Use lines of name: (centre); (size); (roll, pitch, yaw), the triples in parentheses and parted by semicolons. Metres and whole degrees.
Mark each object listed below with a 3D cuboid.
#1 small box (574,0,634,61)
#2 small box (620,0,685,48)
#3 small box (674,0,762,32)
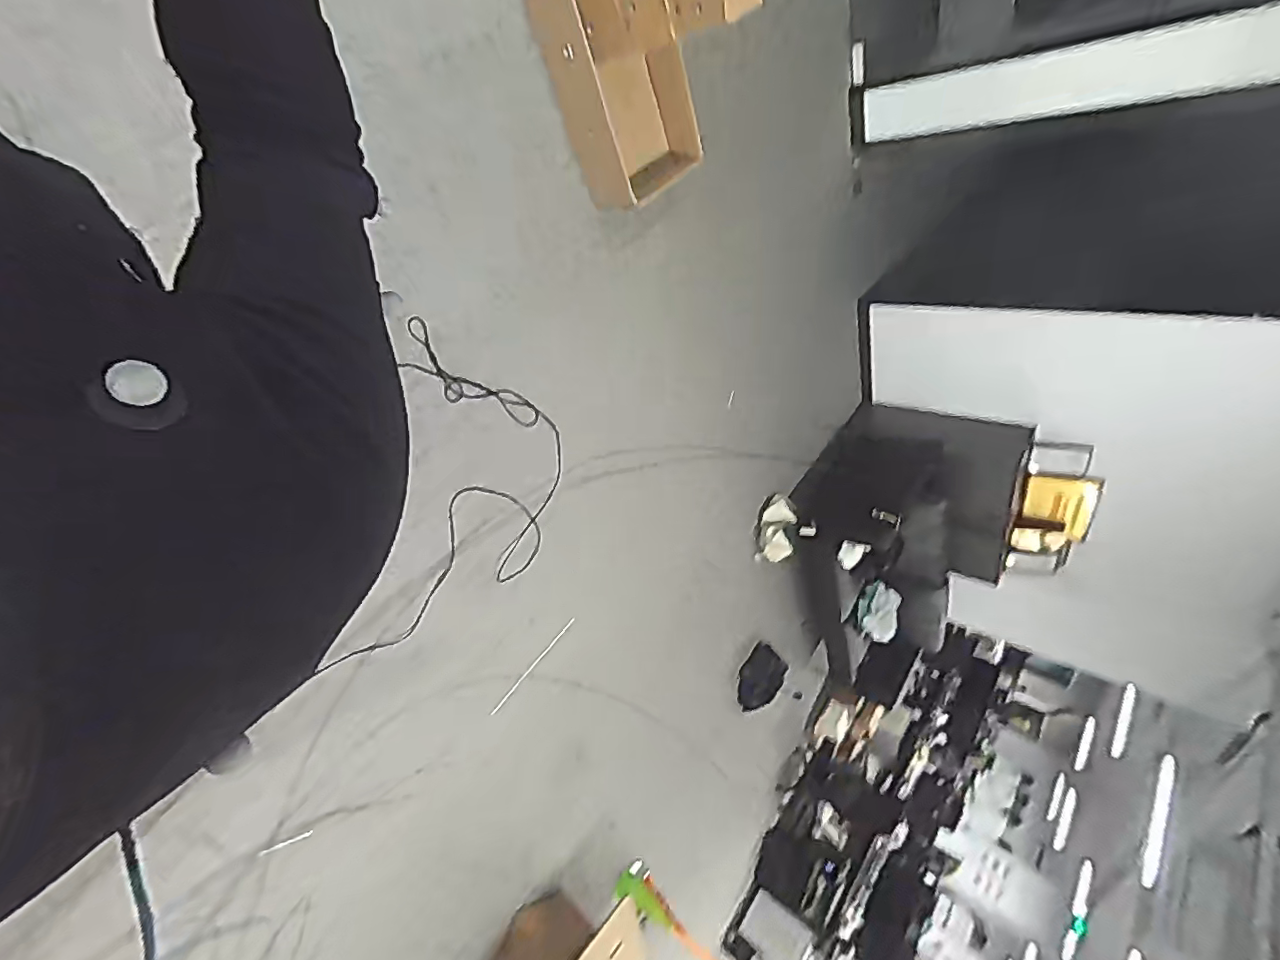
small box: (-0.059, -1.338, 1.548); (0.179, 0.176, 0.168); (-47, 136, -28)
small box: (0.064, -1.297, 1.449); (0.179, 0.176, 0.168); (-48, 137, -27)
small box: (0.189, -1.261, 1.351); (0.179, 0.176, 0.168); (-50, 139, -26)
